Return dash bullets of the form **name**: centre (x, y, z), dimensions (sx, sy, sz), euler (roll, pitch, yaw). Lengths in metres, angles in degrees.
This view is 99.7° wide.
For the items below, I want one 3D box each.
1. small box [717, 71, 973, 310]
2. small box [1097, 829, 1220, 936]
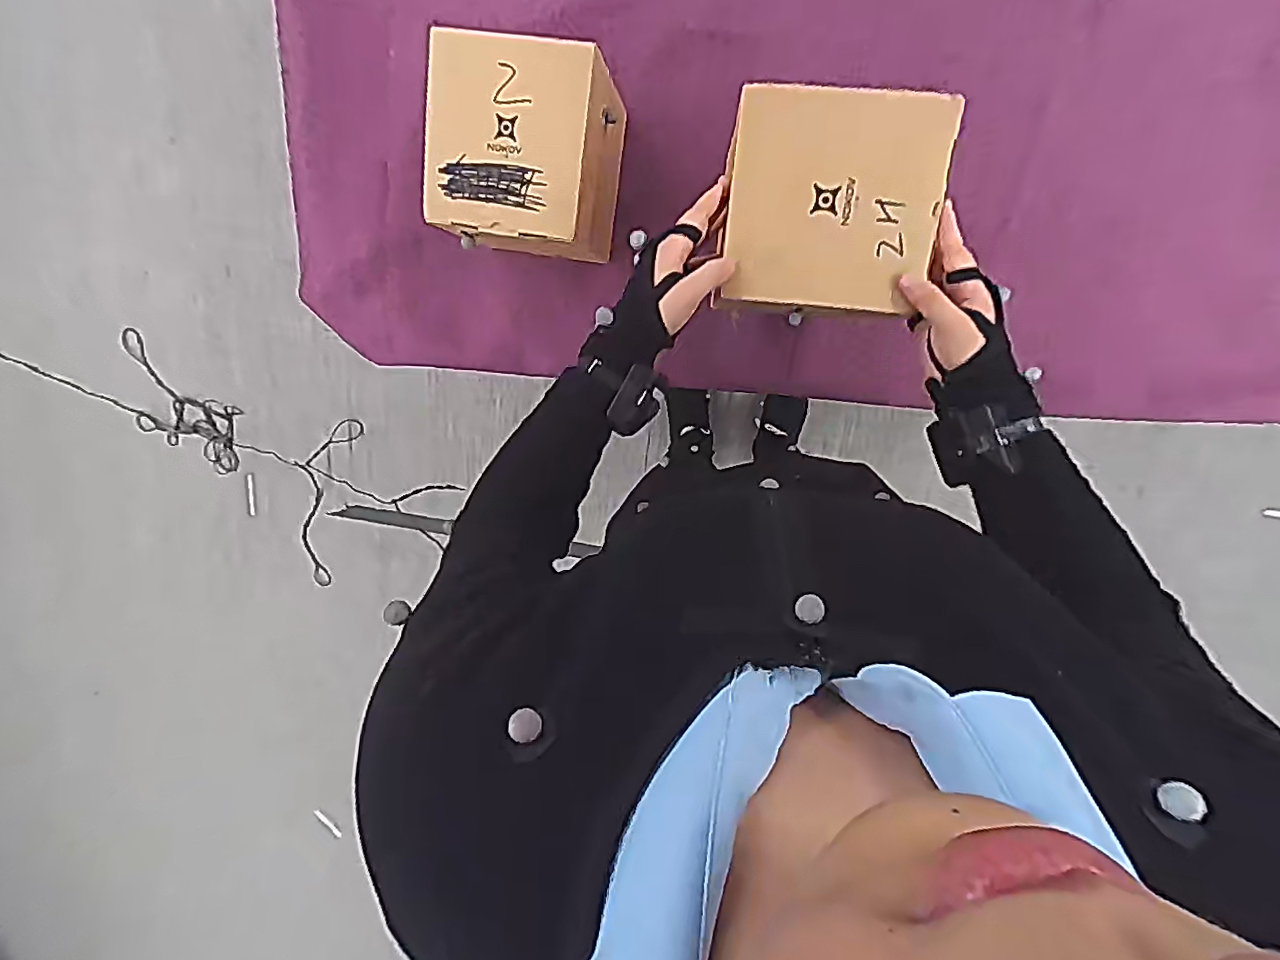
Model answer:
- **small box**: centre (0.171, -0.258, 0.520), dimensions (0.179, 0.176, 0.168), euler (6, 106, 3)
- **small box**: centre (1.445, 1.123, 1.522), dimensions (0.179, 0.176, 0.168), euler (1, 105, 8)
